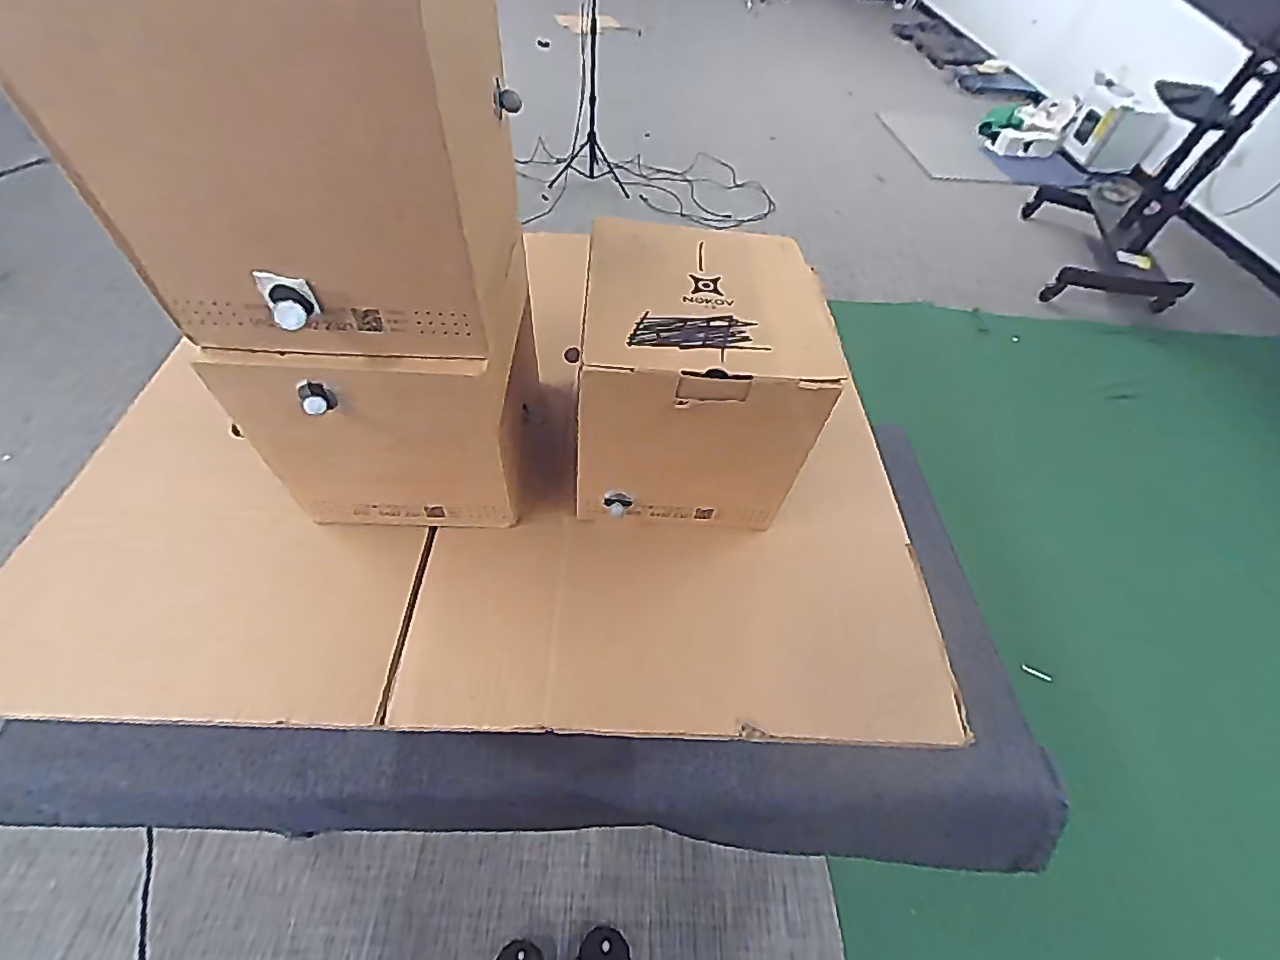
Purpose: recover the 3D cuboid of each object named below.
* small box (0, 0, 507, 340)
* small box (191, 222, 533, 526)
[{"bbox_3d":[-0.169,-0.198,0.288,0.168,0.176,0.179,0,55,-5],"label":"small box"},{"bbox_3d":[-0.180,-0.085,0.425,0.168,0.176,0.179,2,52,-2],"label":"small box"}]
